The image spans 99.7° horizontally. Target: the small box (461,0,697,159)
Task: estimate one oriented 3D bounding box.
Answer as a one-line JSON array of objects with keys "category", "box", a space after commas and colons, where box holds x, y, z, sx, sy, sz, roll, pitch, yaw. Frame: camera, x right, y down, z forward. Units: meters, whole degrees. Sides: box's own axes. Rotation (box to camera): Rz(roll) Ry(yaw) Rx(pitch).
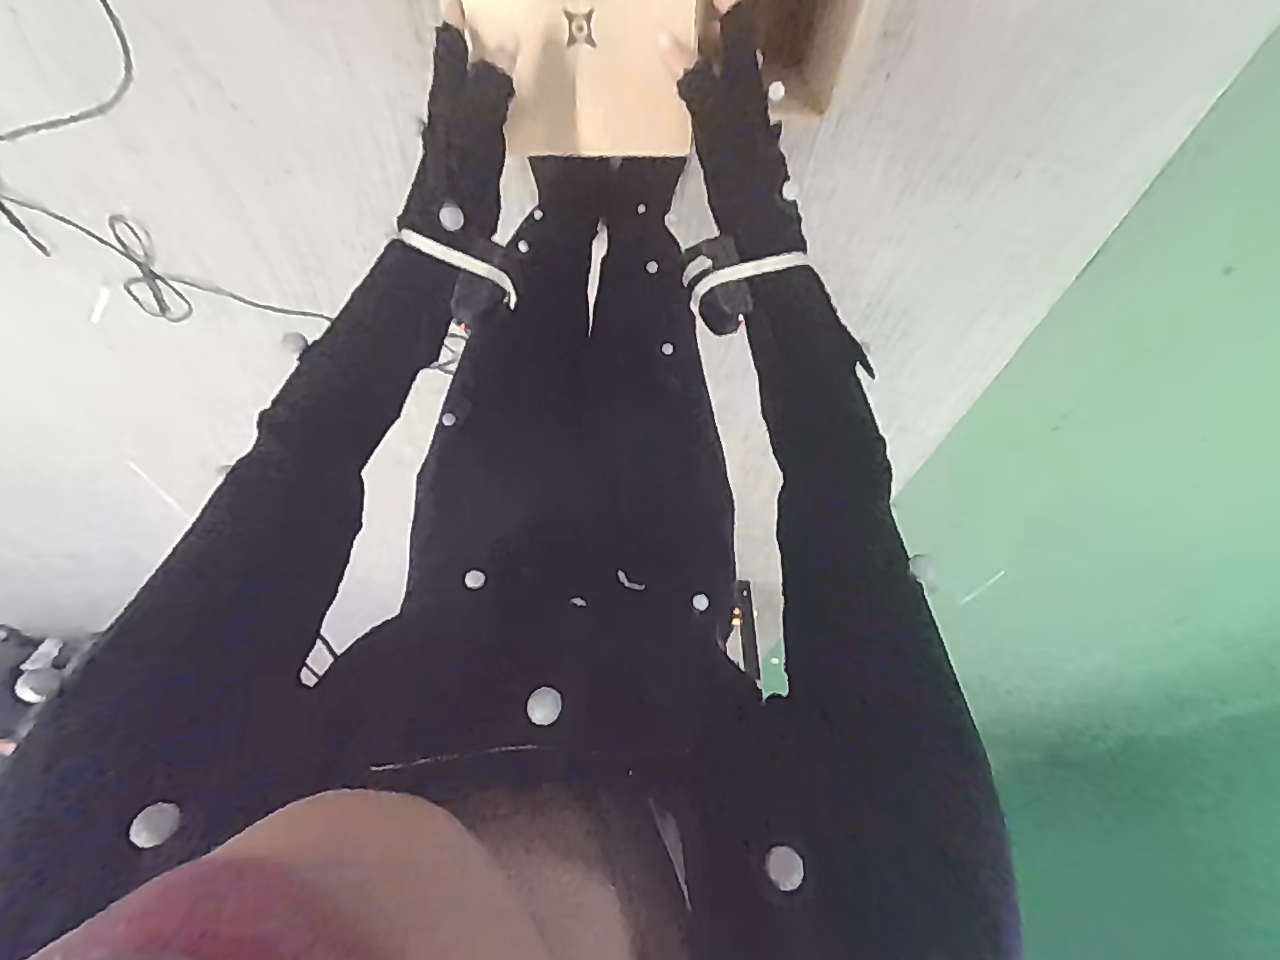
[{"category": "small box", "box": [-0.038, -0.387, 0.434, 0.168, 0.176, 0.179, 2, 142, 4]}]
